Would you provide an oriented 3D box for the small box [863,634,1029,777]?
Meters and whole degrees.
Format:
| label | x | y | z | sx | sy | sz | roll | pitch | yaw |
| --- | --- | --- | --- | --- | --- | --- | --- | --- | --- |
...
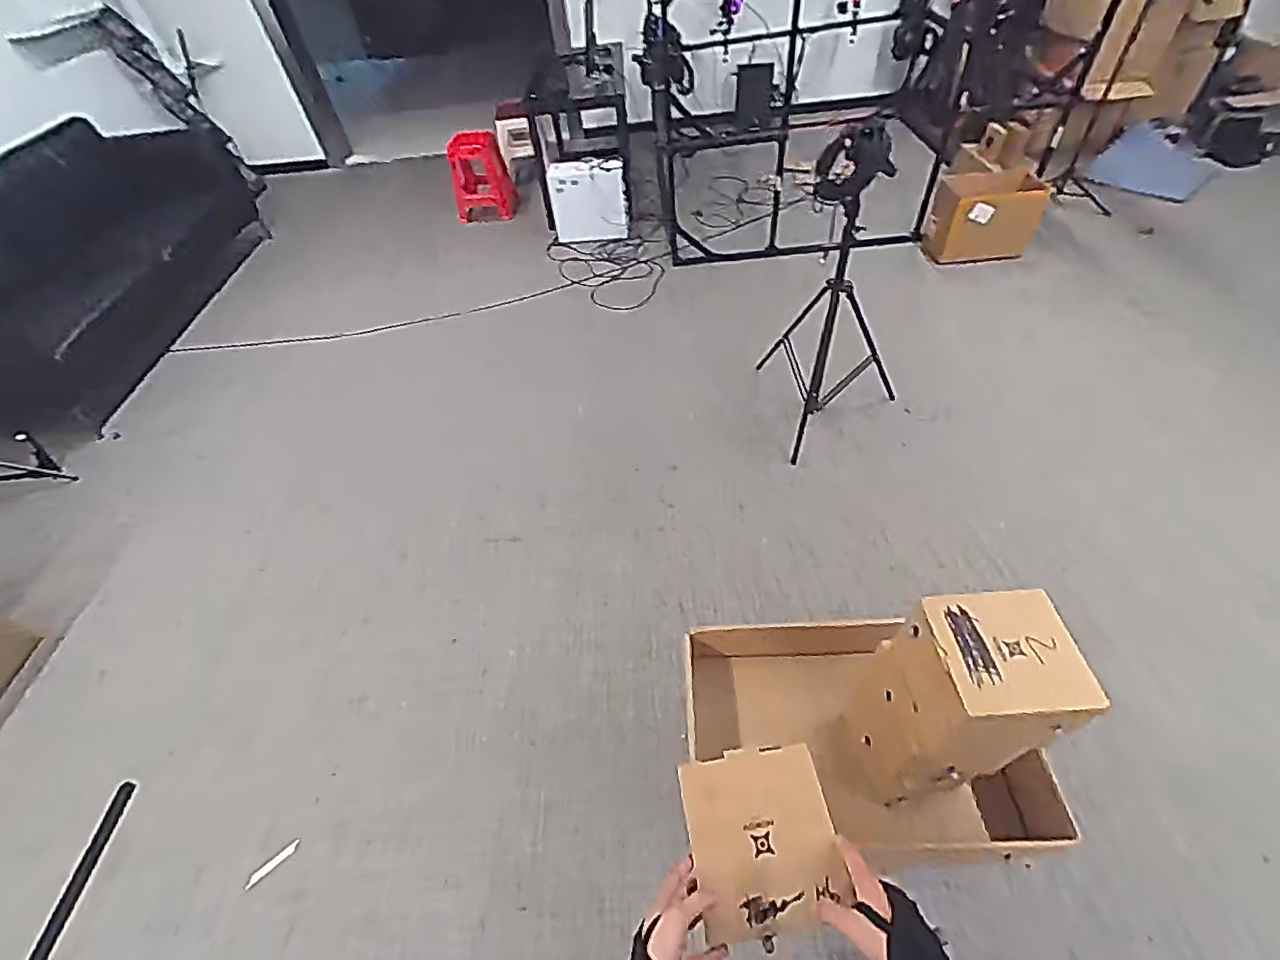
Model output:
| label | x | y | z | sx | sy | sz | roll | pitch | yaw |
| --- | --- | --- | --- | --- | --- | --- | --- | --- | --- |
| small box | 0.490 | 0.377 | 0.902 | 0.168 | 0.176 | 0.179 | -5 | 50 | 4 |

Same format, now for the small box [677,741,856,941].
| label | x | y | z | sx | sy | sz | roll | pitch | yaw |
| --- | --- | --- | --- | --- | --- | --- | --- | --- | --- |
| small box | 0.143 | 0.455 | 0.680 | 0.168 | 0.176 | 0.179 | -10 | 51 | -1 |
